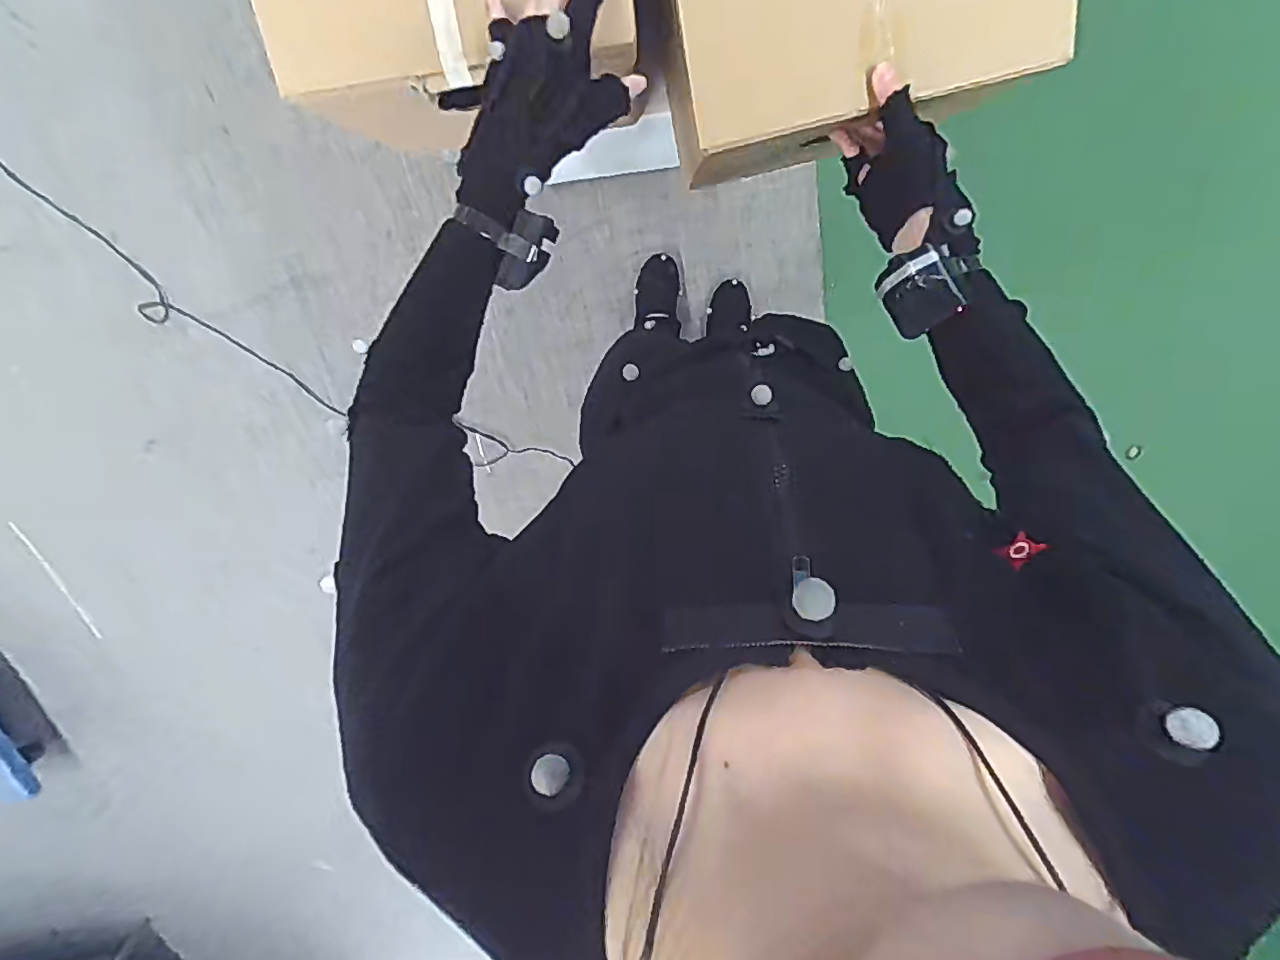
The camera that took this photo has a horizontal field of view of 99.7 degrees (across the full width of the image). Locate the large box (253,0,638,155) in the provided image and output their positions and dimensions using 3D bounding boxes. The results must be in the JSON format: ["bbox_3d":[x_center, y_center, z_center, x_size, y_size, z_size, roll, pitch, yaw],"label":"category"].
[{"bbox_3d":[-0.183,-0.592,0.527,0.320,0.320,0.408,-6,112,3],"label":"large box"}]
